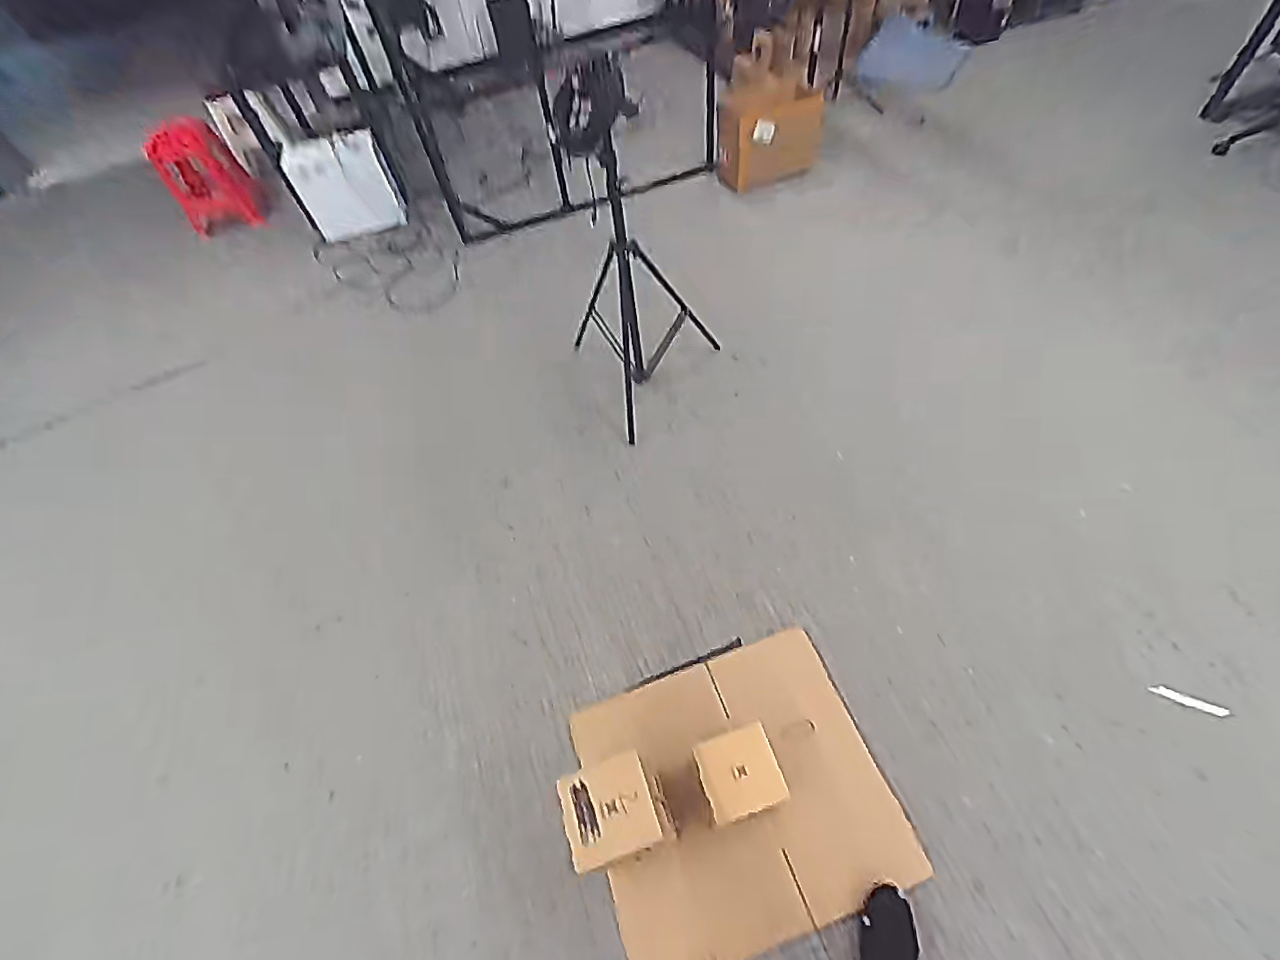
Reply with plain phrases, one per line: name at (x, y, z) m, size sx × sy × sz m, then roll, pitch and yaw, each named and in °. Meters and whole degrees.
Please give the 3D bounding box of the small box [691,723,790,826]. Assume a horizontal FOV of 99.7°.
small box at (0.228, 0.696, 1.275) m, size 0.179 × 0.176 × 0.168 m, roll -18°, pitch 56°, yaw -5°

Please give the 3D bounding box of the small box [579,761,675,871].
small box at (-0.024, 0.775, 1.251) m, size 0.179 × 0.176 × 0.168 m, roll -20°, pitch 55°, yaw -5°
